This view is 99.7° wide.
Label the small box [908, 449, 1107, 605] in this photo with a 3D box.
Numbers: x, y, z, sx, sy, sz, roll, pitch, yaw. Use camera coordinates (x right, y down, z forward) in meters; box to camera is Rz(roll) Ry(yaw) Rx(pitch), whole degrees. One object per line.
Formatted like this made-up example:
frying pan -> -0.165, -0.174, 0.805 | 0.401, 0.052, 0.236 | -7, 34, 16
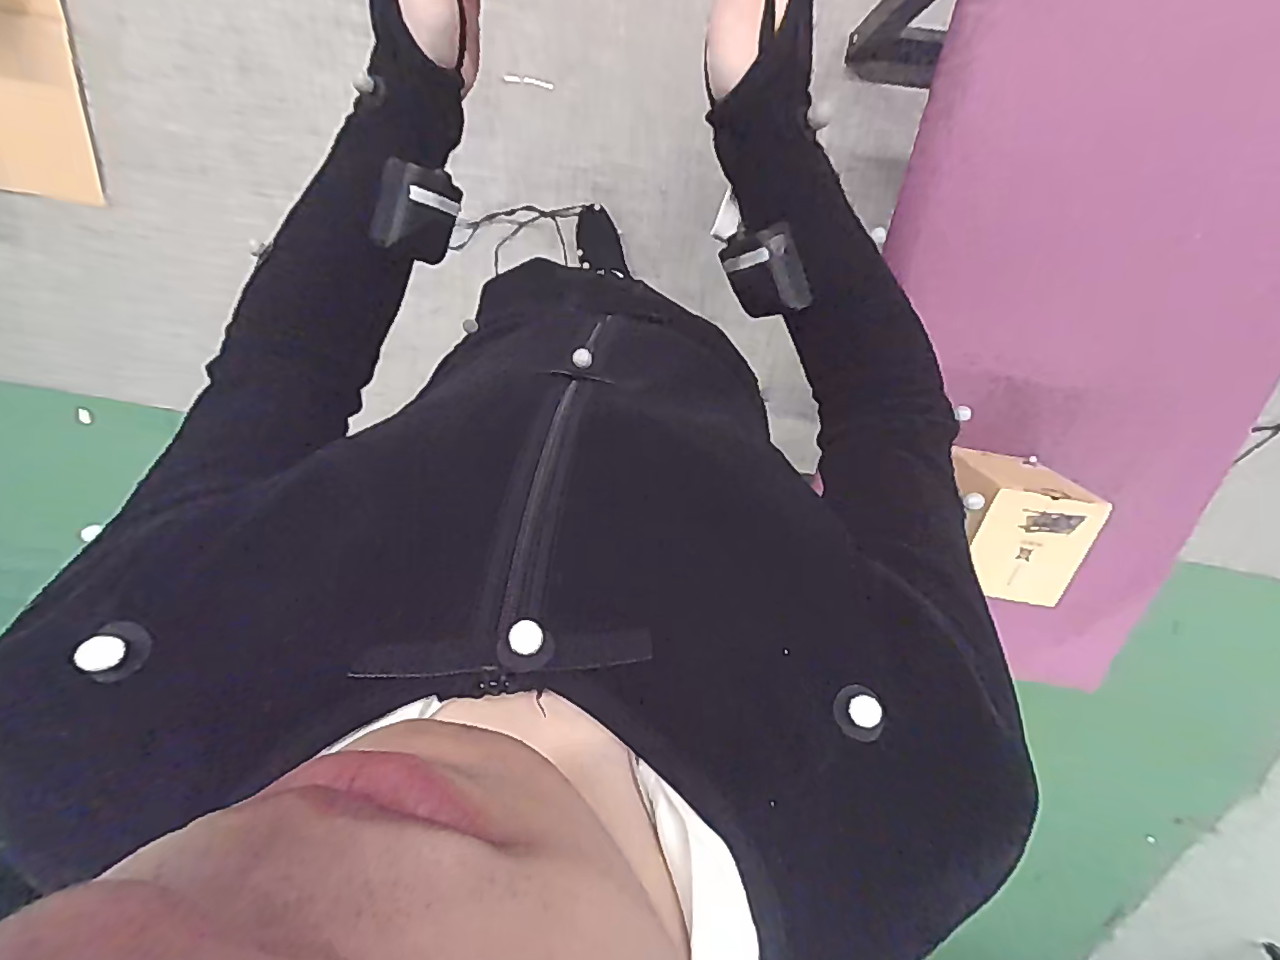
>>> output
small box -> 0.555, 0.065, 0.849 | 0.168, 0.176, 0.179 | 10, 114, -3
